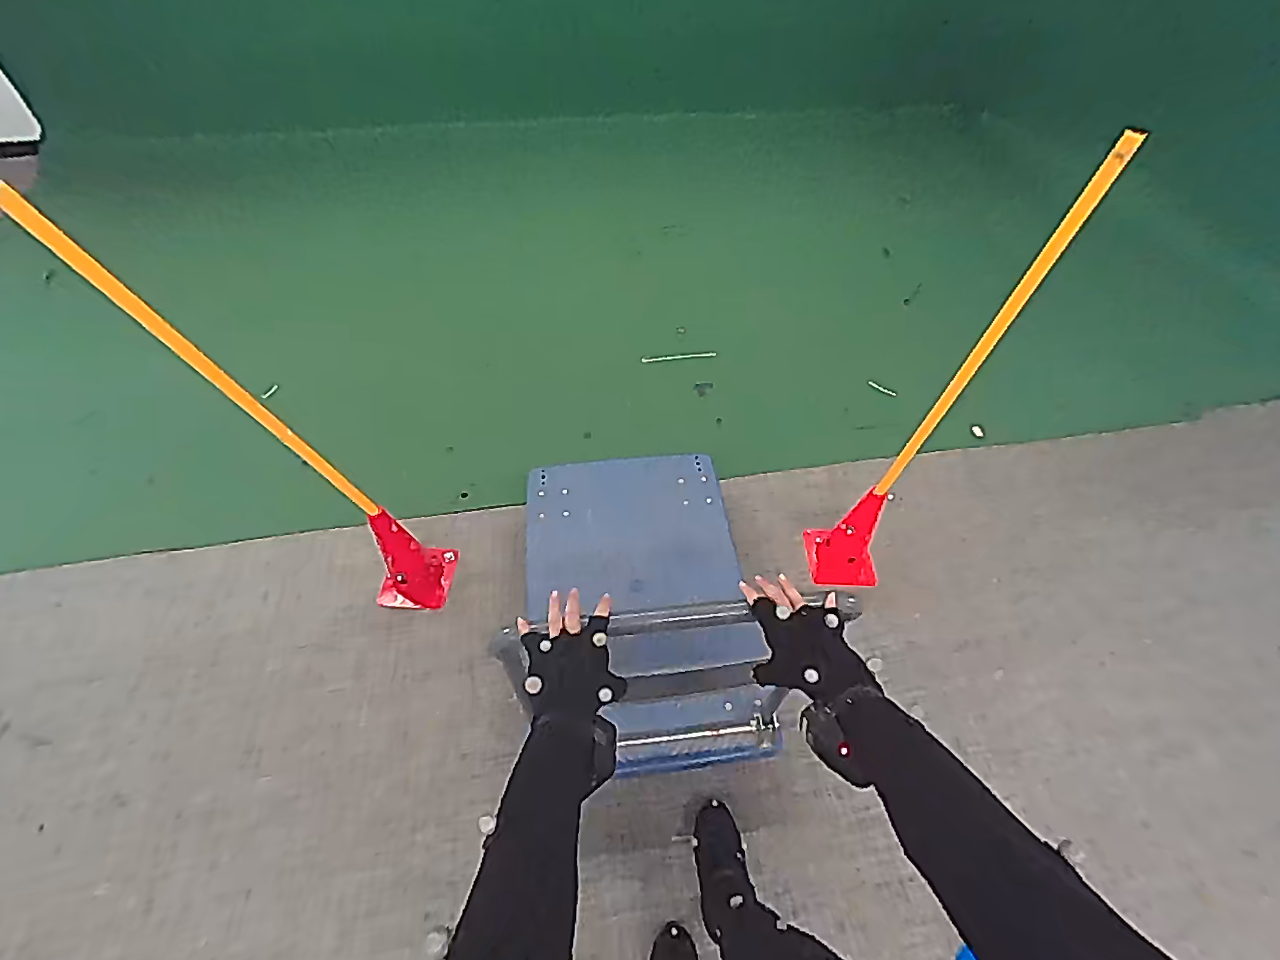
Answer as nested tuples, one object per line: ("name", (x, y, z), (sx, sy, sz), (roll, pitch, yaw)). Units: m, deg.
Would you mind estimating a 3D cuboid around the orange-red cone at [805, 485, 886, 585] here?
("orange-red cone", (0.626, 0.136, 1.554), (0.198, 0.360, 0.199), (2, 53, 1))
